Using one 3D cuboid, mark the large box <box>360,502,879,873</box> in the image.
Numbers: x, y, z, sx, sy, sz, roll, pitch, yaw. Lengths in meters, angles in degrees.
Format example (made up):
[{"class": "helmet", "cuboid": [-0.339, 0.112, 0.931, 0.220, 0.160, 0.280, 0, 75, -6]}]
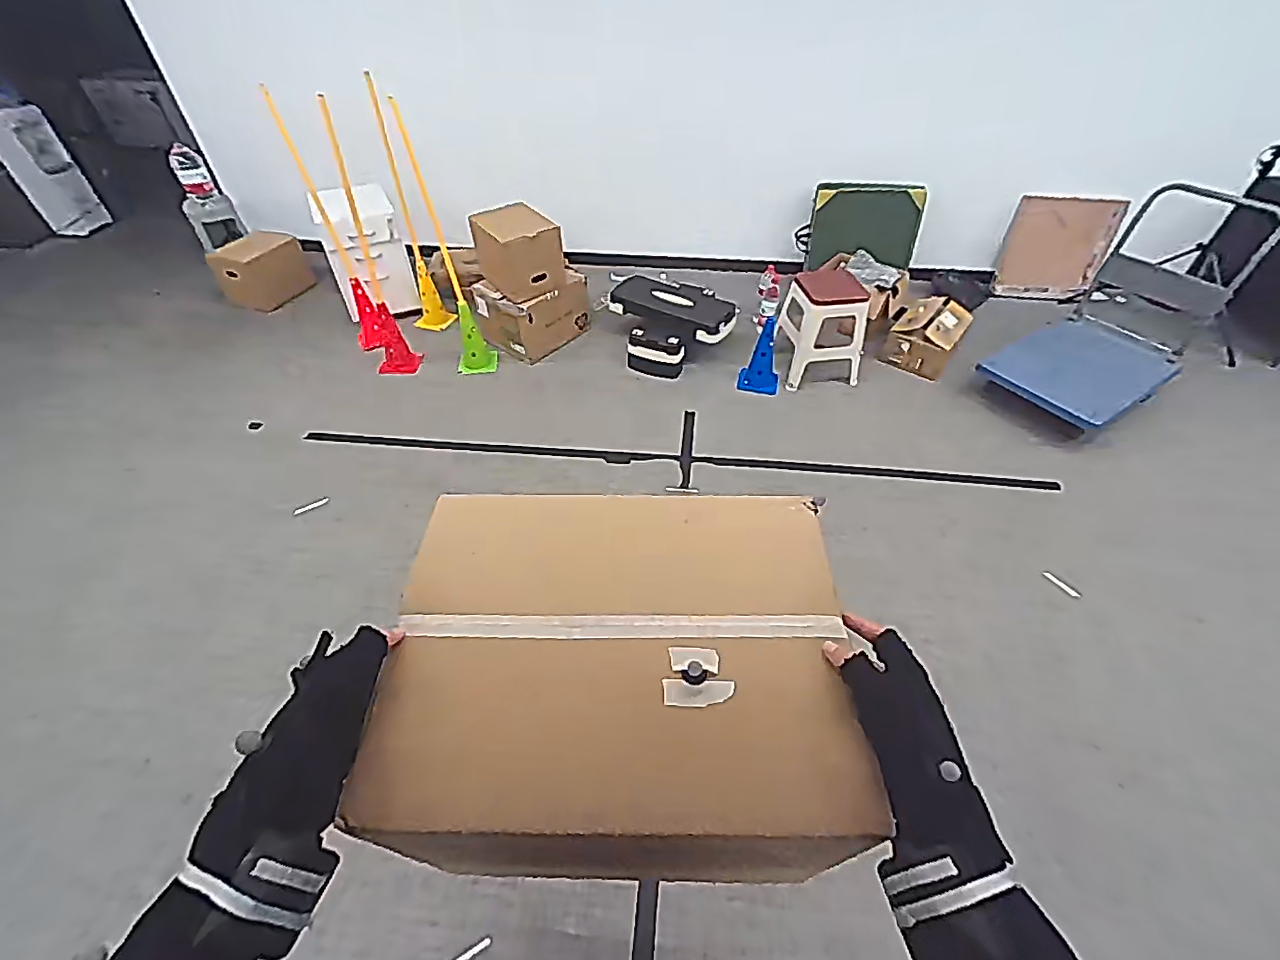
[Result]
[{"class": "large box", "cuboid": [-0.016, 0.239, 0.615, 0.408, 0.320, 0.320, 1, 49, 1]}]
